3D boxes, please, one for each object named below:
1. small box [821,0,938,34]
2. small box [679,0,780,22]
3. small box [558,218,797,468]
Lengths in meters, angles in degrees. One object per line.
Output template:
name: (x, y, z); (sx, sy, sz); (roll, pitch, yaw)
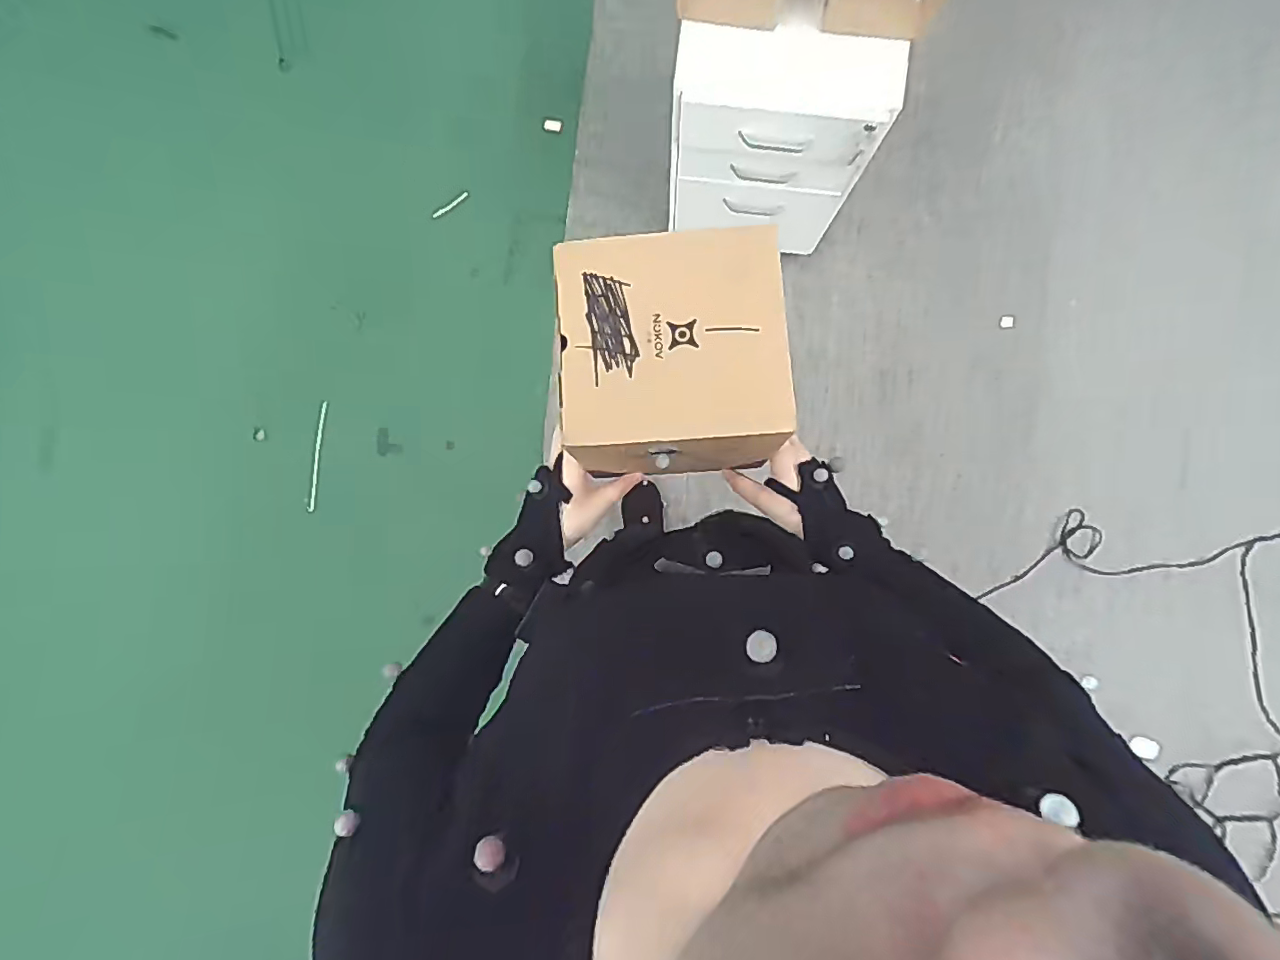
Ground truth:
small box: (0.401, -0.847, 0.843); (0.179, 0.176, 0.168); (8, 88, 4)
small box: (0.157, -0.874, 0.851); (0.179, 0.176, 0.168); (8, 89, 2)
small box: (0.030, -0.105, 0.485); (0.179, 0.176, 0.168); (-3, 83, 2)
